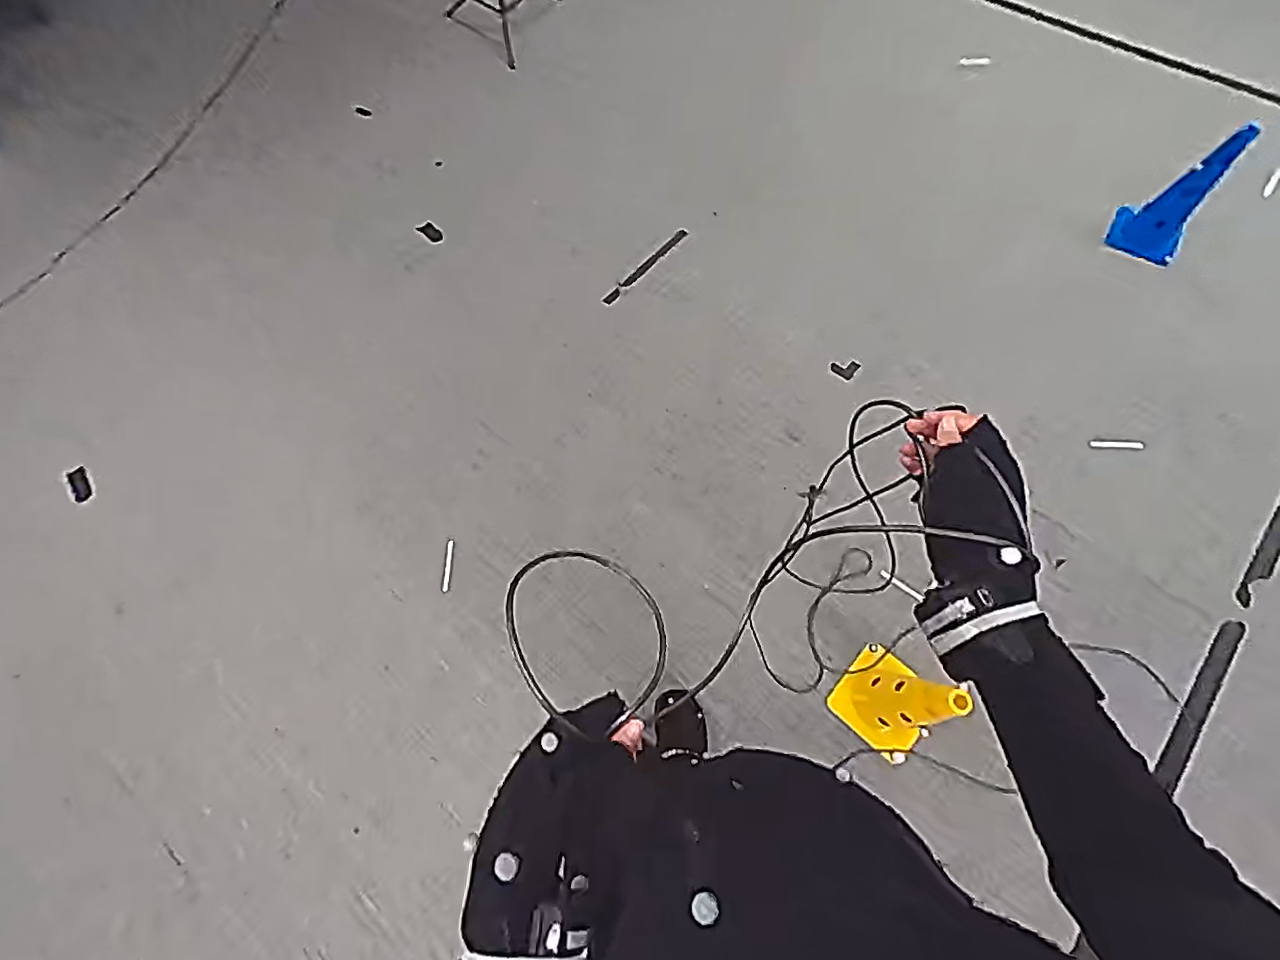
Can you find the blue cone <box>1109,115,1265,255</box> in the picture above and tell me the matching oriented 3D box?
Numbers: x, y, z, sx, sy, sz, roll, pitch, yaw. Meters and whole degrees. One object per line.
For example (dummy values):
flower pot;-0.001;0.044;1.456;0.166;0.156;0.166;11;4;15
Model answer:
blue cone;1.619;-0.880;1.592;0.192;0.380;0.193;32;73;14
